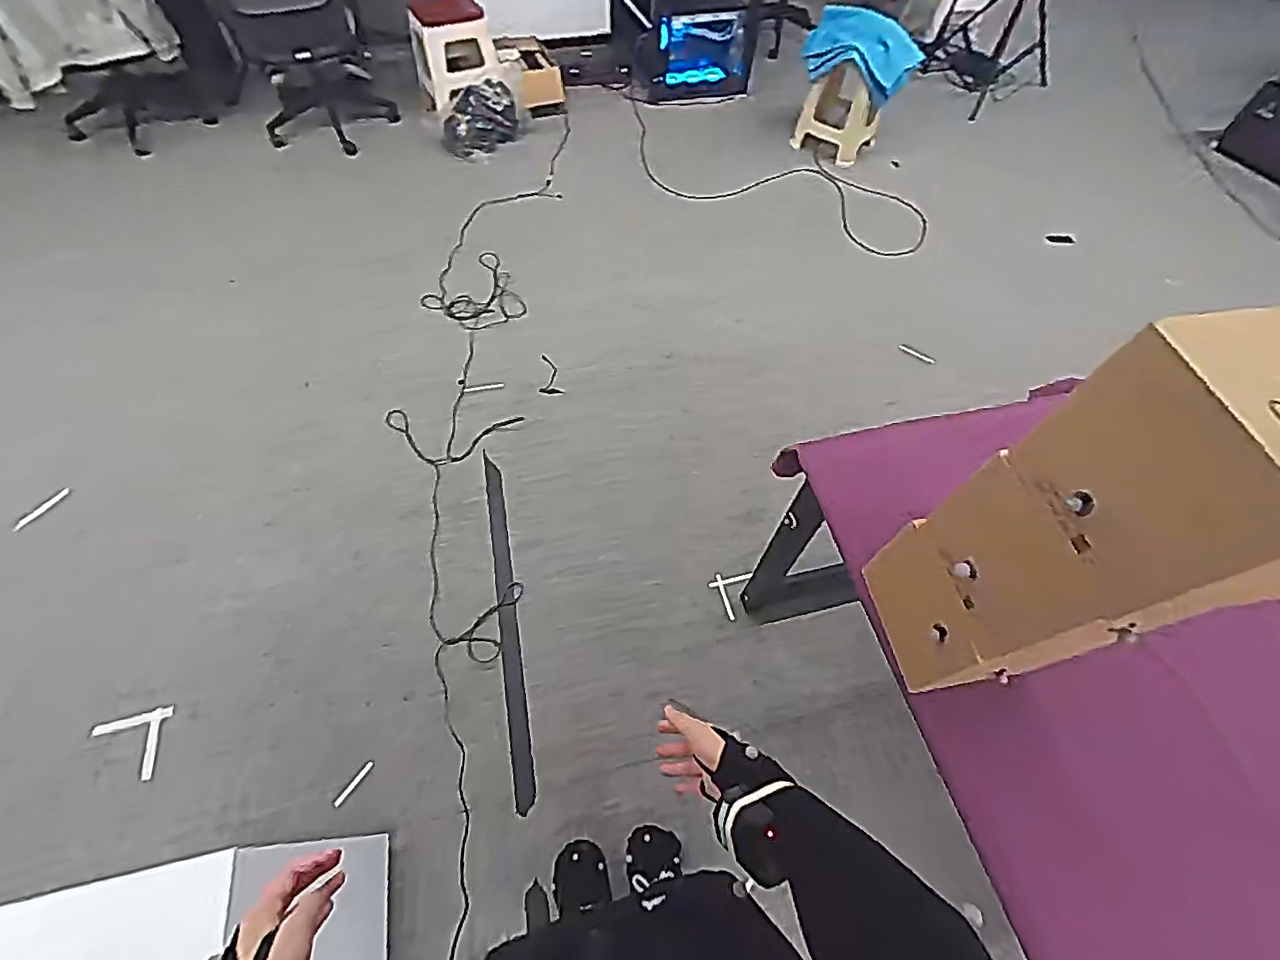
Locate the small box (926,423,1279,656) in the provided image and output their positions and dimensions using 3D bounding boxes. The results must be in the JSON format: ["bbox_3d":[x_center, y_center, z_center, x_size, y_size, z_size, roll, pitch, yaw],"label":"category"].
[{"bbox_3d":[0.435,0.066,0.546,0.179,0.176,0.168,-9,59,-6],"label":"small box"}]

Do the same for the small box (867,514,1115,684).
[{"bbox_3d":[0.421,0.150,0.687,0.168,0.176,0.179,-7,59,-7],"label":"small box"}]
